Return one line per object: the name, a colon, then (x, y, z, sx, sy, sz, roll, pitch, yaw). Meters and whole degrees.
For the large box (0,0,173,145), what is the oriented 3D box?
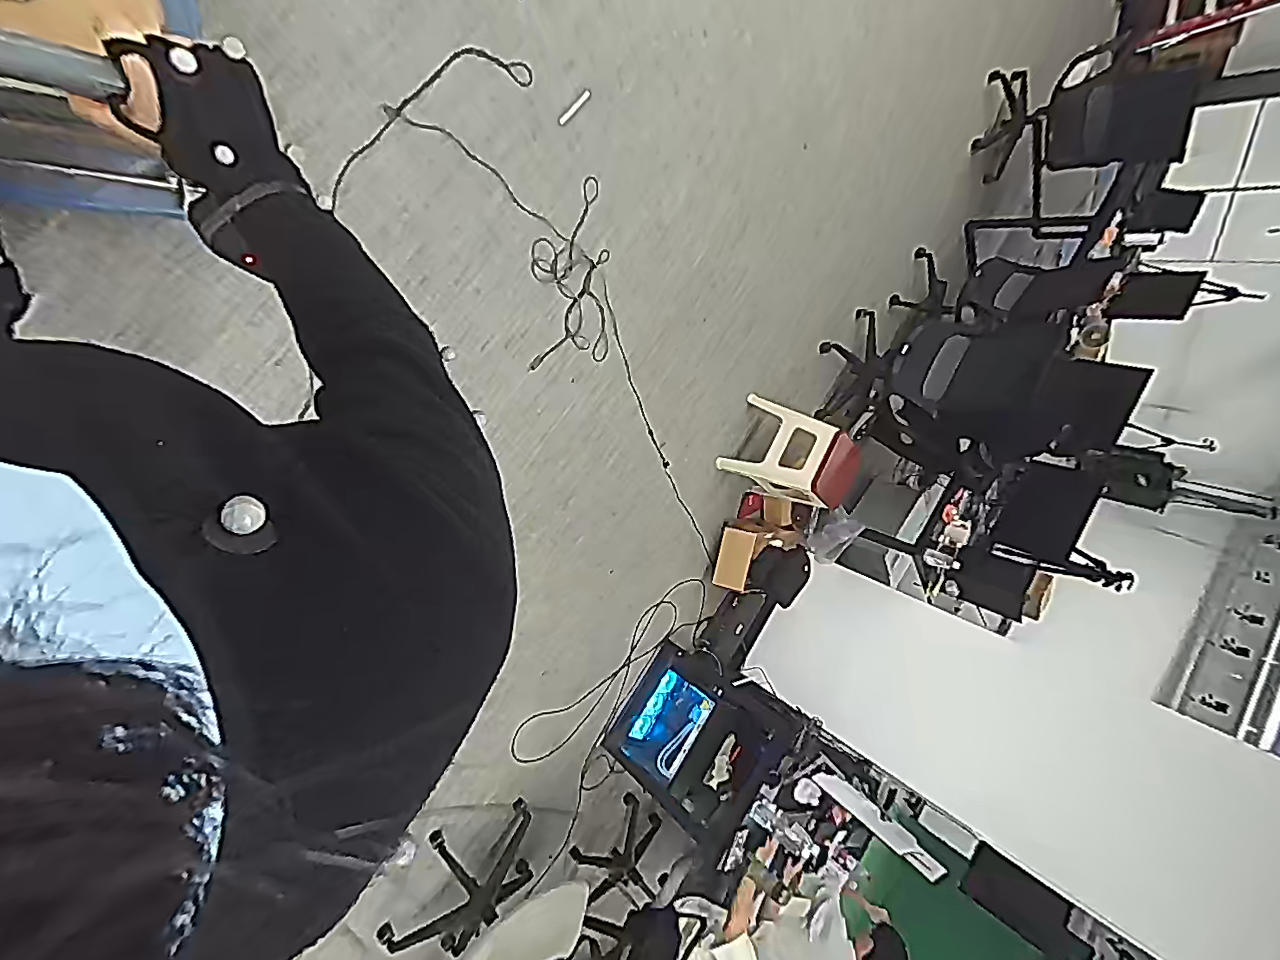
large box: (-0.837, -0.615, 0.612, 0.408, 0.320, 0.320, -14, 117, -43)
